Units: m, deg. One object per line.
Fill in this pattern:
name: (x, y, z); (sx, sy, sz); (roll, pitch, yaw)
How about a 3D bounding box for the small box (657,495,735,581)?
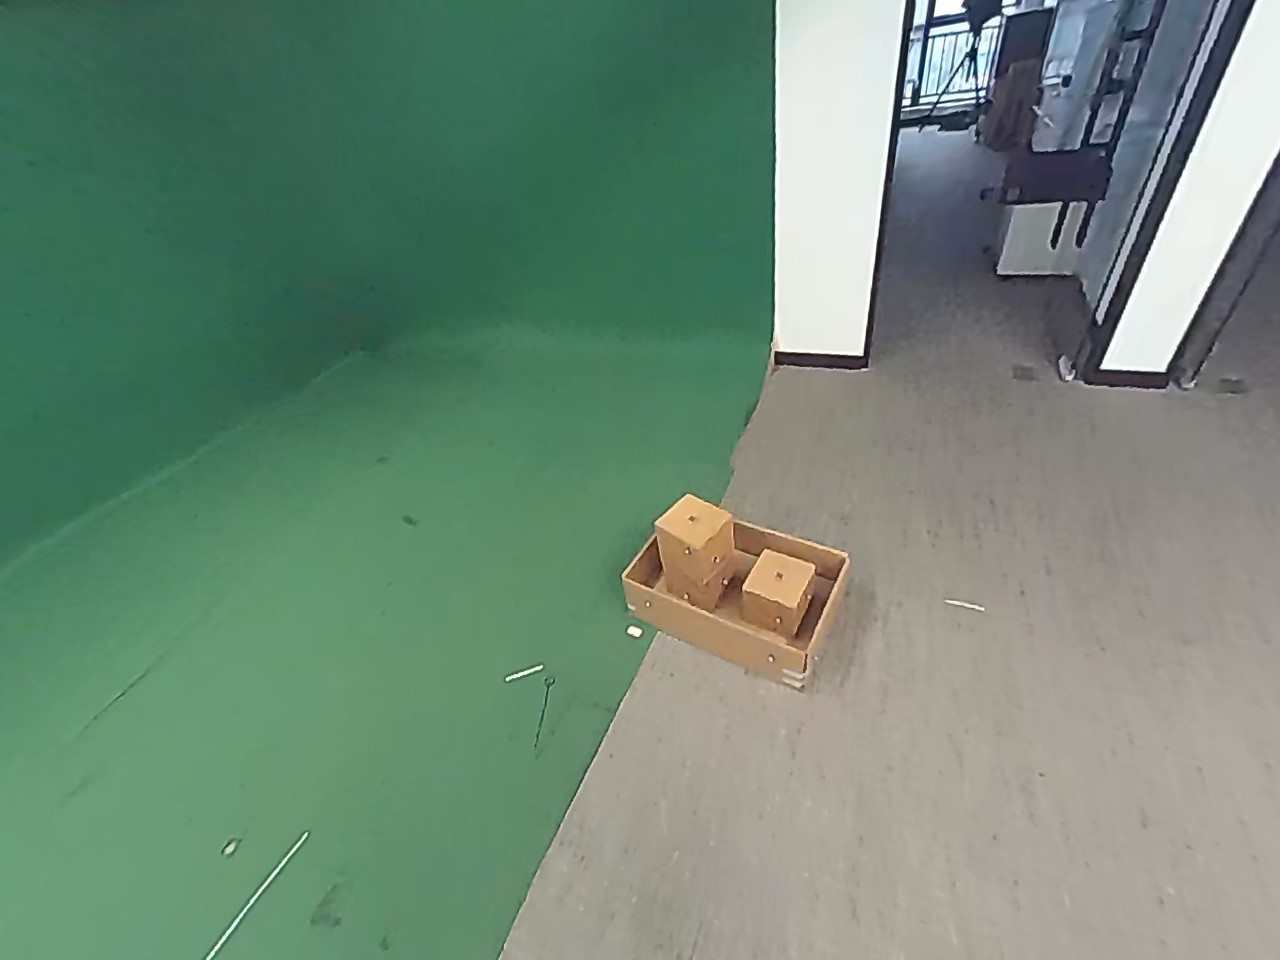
small box: (0.177, 0.181, 1.667); (0.179, 0.176, 0.168); (26, 52, 35)
